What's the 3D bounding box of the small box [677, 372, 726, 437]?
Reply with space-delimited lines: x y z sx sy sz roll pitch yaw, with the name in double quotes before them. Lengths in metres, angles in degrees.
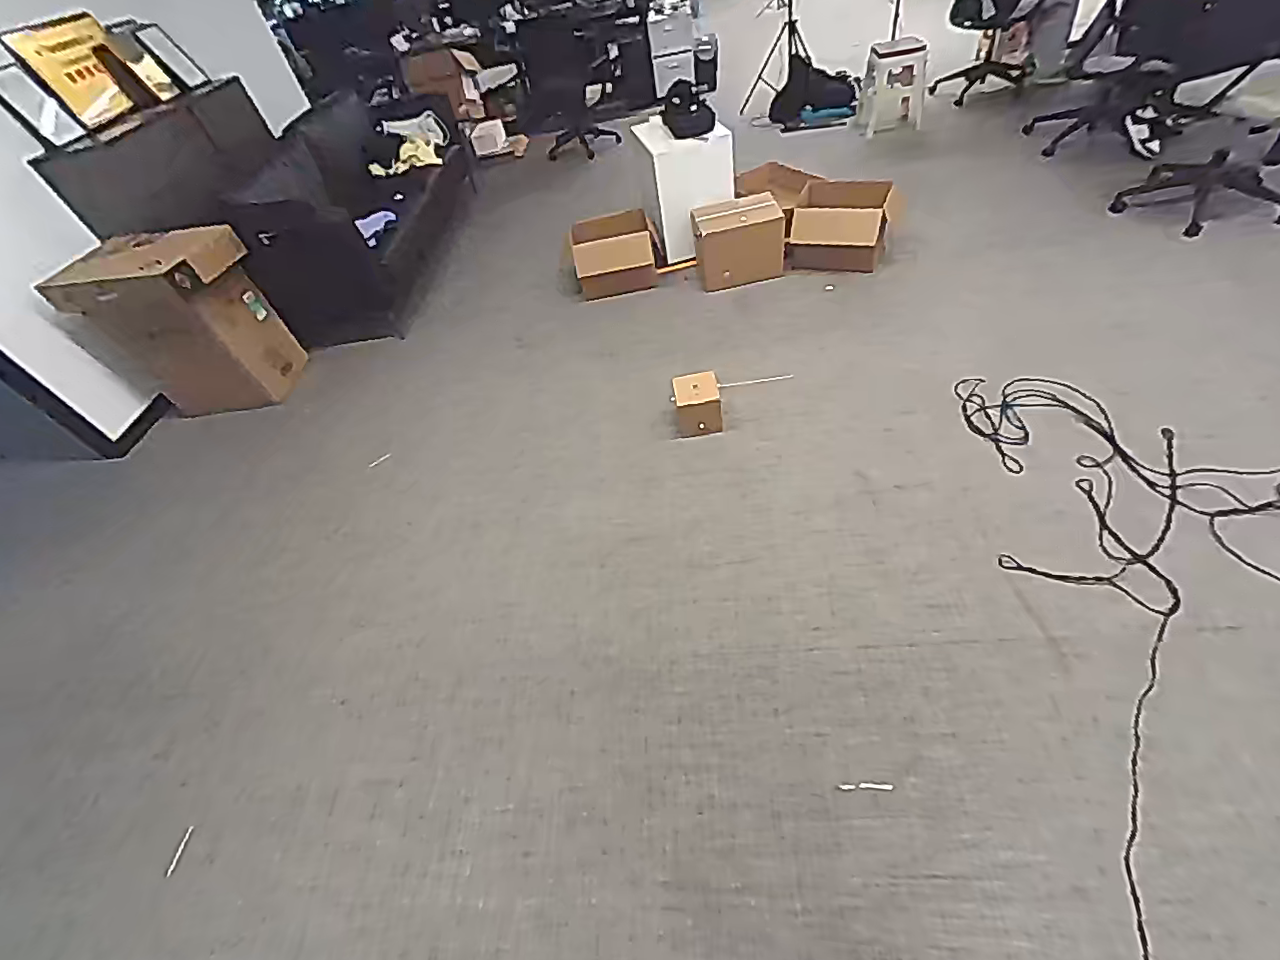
"small box" 0.240 -0.292 2.116 0.168 0.176 0.179 -10 47 5
